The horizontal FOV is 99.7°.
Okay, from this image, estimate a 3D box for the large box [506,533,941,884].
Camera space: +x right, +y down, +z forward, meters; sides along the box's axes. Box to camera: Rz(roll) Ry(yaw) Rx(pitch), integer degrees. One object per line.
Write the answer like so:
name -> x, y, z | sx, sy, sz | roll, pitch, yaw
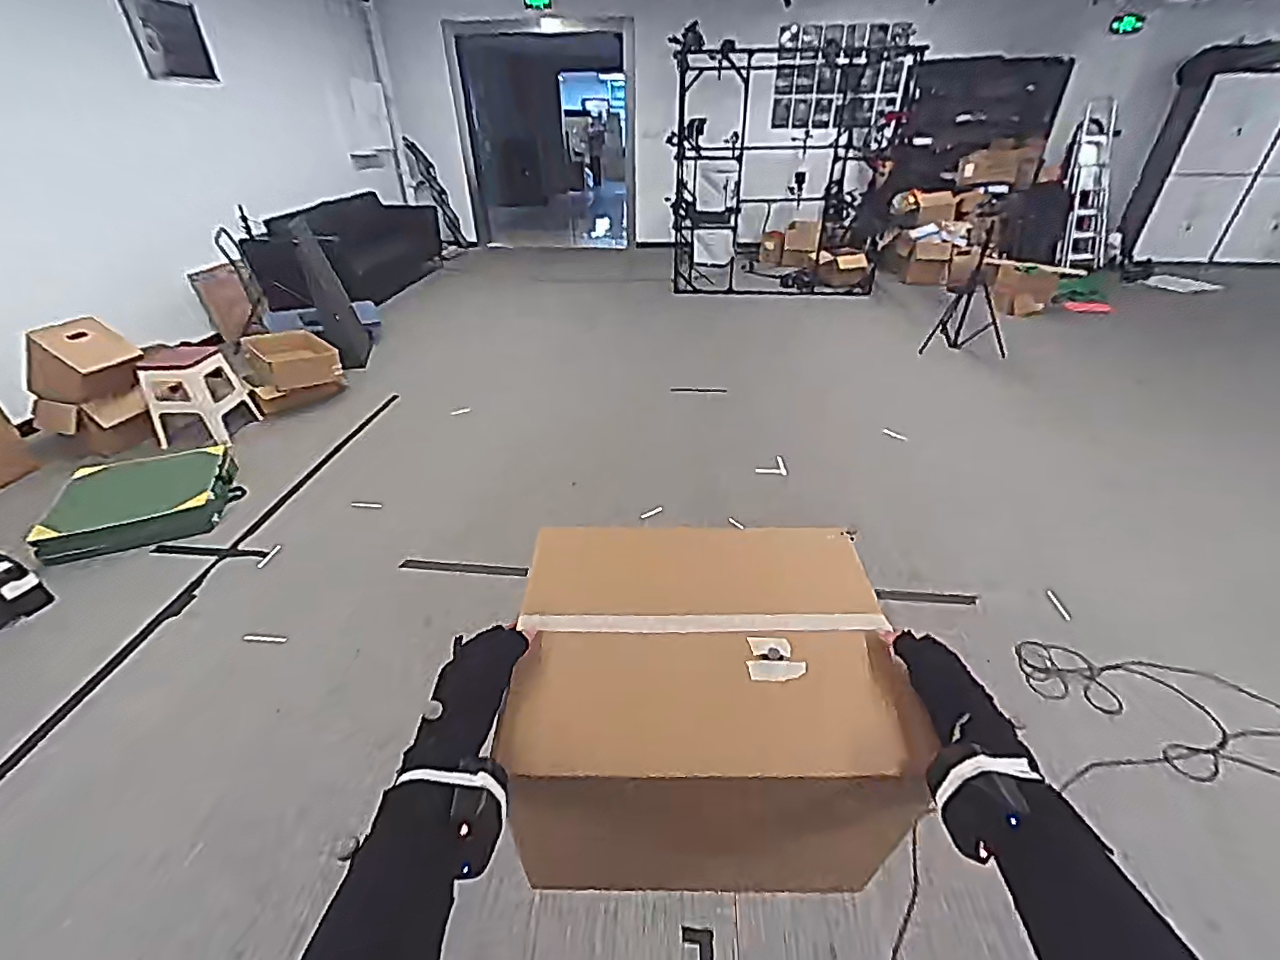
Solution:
large box -> 0.072, 0.282, 0.691 | 0.408, 0.320, 0.320 | 1, 38, 0
